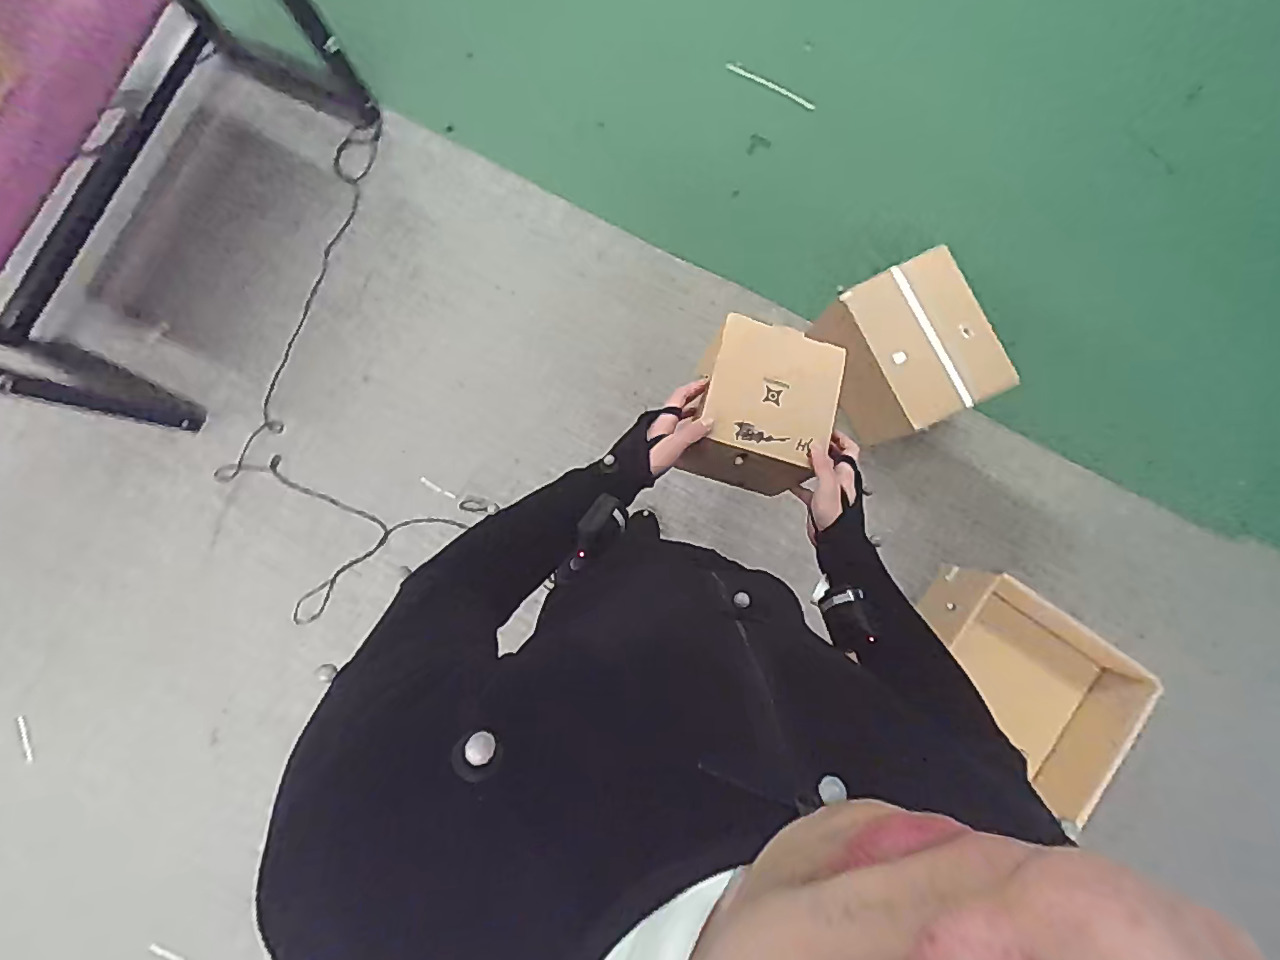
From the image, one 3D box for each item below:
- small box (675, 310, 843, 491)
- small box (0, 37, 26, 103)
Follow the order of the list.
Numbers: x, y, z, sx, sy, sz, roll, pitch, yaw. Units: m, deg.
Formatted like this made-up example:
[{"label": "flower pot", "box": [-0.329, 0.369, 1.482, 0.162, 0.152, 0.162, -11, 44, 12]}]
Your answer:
[{"label": "small box", "box": [0.155, -0.098, 0.752, 0.168, 0.176, 0.179, 16, 77, -4]}, {"label": "small box", "box": [-1.209, -0.732, 0.888, 0.179, 0.176, 0.168, 28, 87, 2]}]
